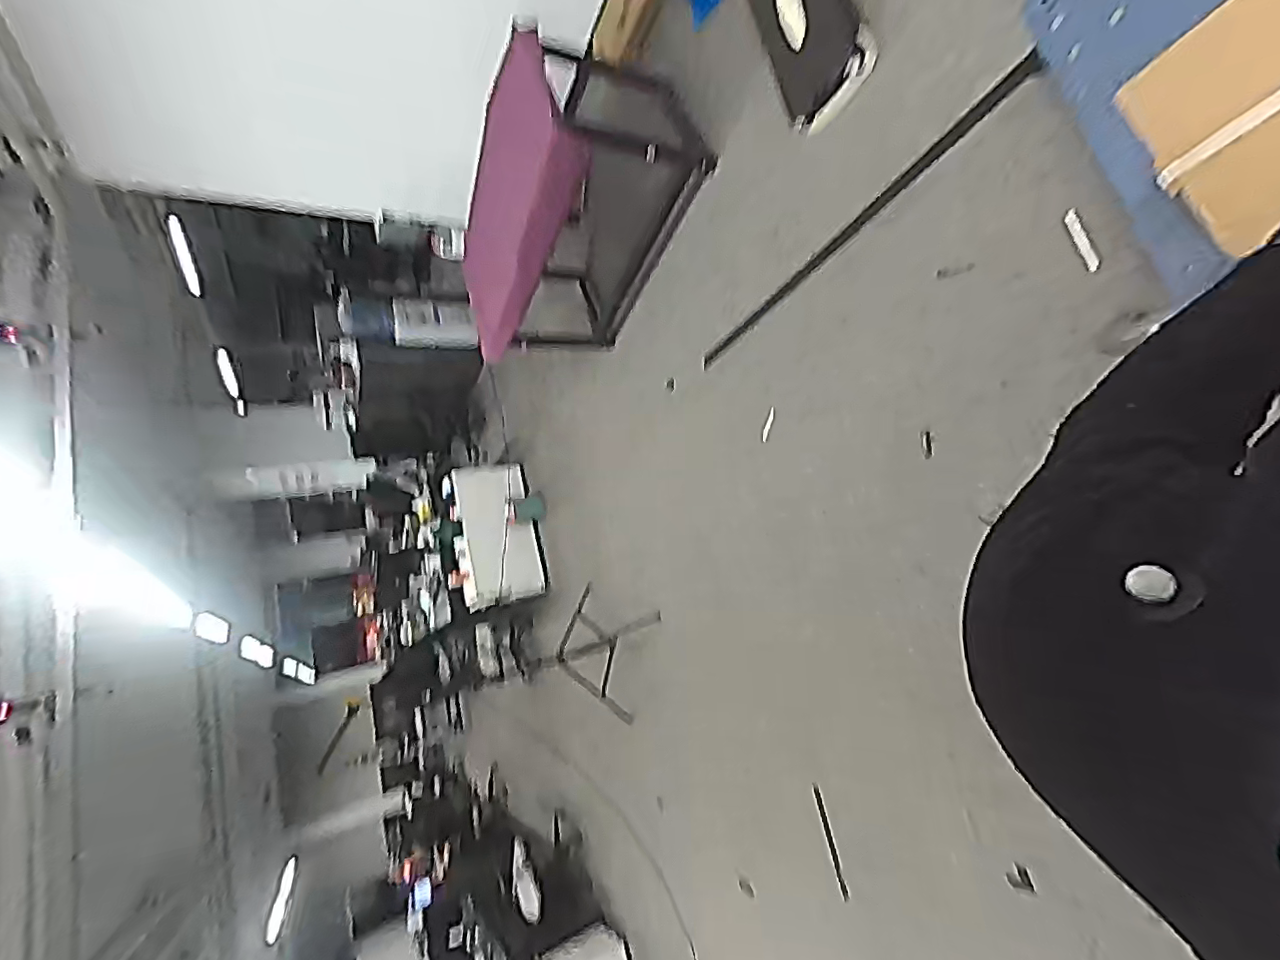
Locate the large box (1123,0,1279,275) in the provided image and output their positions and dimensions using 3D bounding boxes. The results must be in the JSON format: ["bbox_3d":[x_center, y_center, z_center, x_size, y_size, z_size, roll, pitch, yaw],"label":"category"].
[{"bbox_3d":[0.965,-0.517,0.675,0.408,0.320,0.320,-40,62,53],"label":"large box"}]
